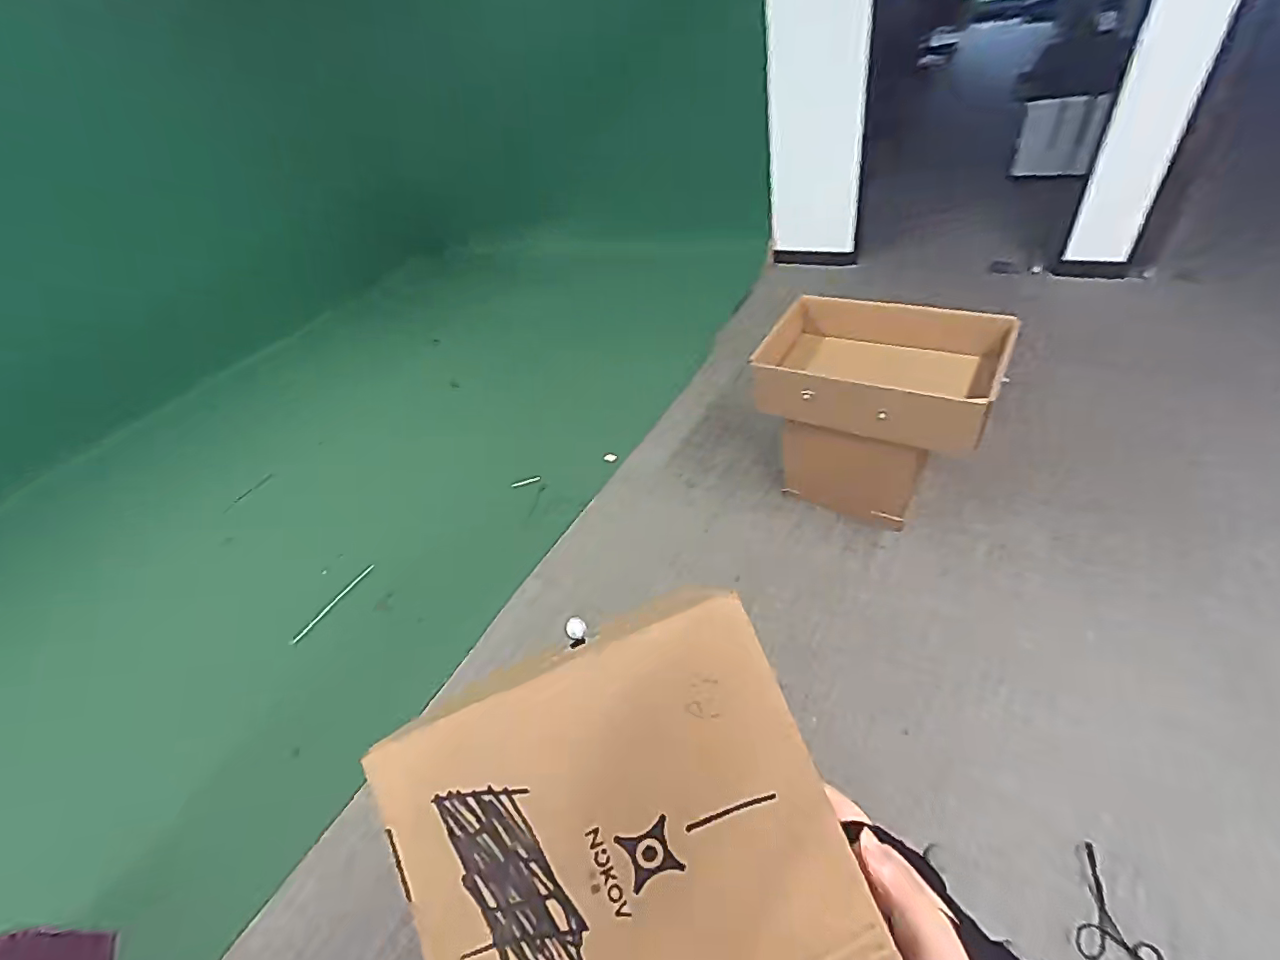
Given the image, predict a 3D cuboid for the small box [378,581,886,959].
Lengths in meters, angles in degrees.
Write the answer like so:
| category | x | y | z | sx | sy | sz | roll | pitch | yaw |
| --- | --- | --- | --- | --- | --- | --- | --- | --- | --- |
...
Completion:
| category | x | y | z | sx | sy | sz | roll | pitch | yaw |
| --- | --- | --- | --- | --- | --- | --- | --- | --- | --- |
| small box | -0.009 | 0.167 | 0.306 | 0.179 | 0.176 | 0.168 | -21 | 80 | -8 |
